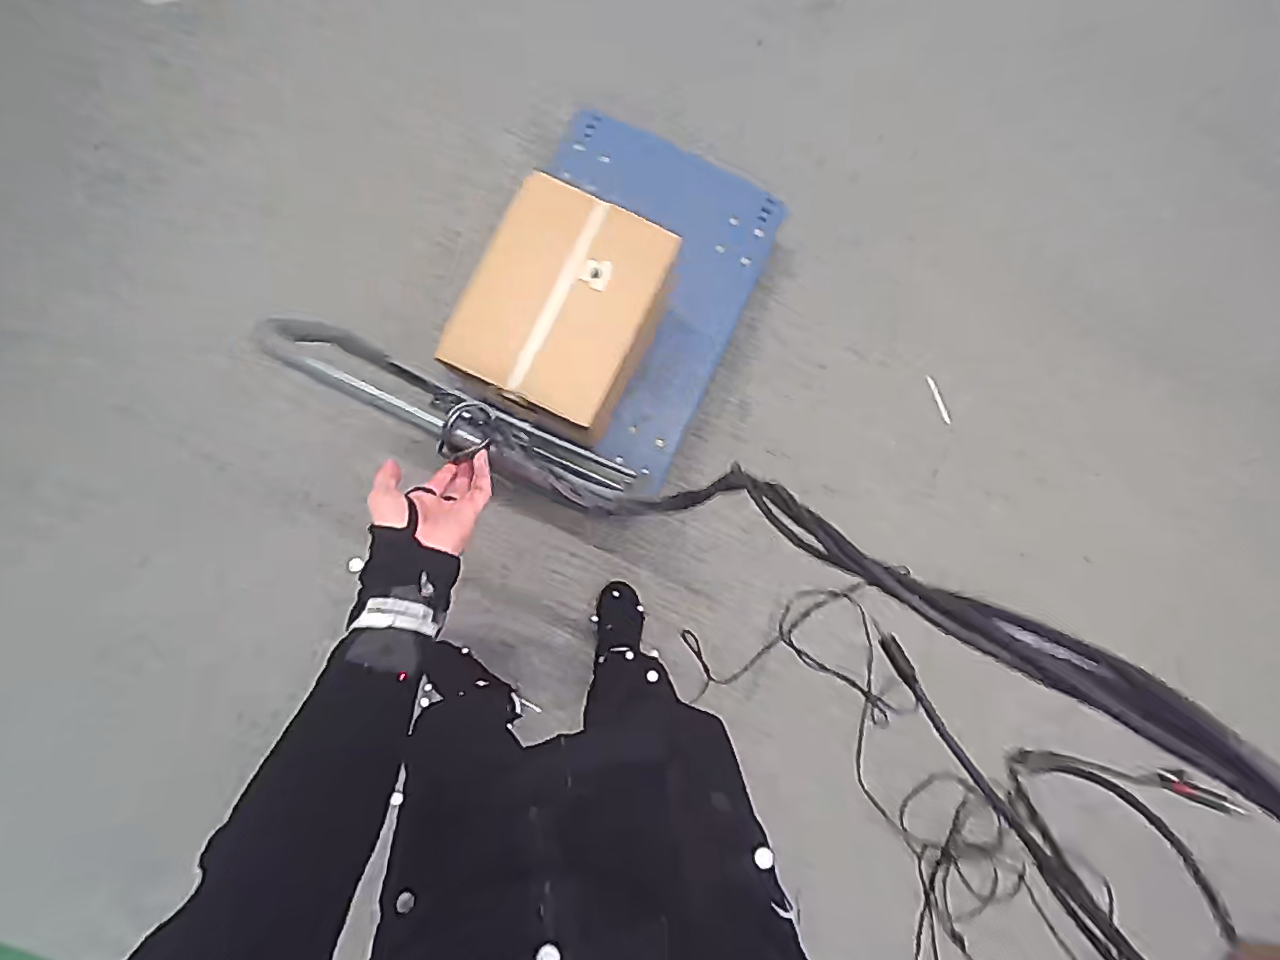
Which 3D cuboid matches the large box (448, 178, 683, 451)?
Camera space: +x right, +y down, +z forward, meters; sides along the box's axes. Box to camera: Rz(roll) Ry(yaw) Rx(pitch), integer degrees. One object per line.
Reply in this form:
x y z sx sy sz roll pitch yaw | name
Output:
-0.139 -0.319 1.153 0.320 0.320 0.408 26 84 0 | large box
